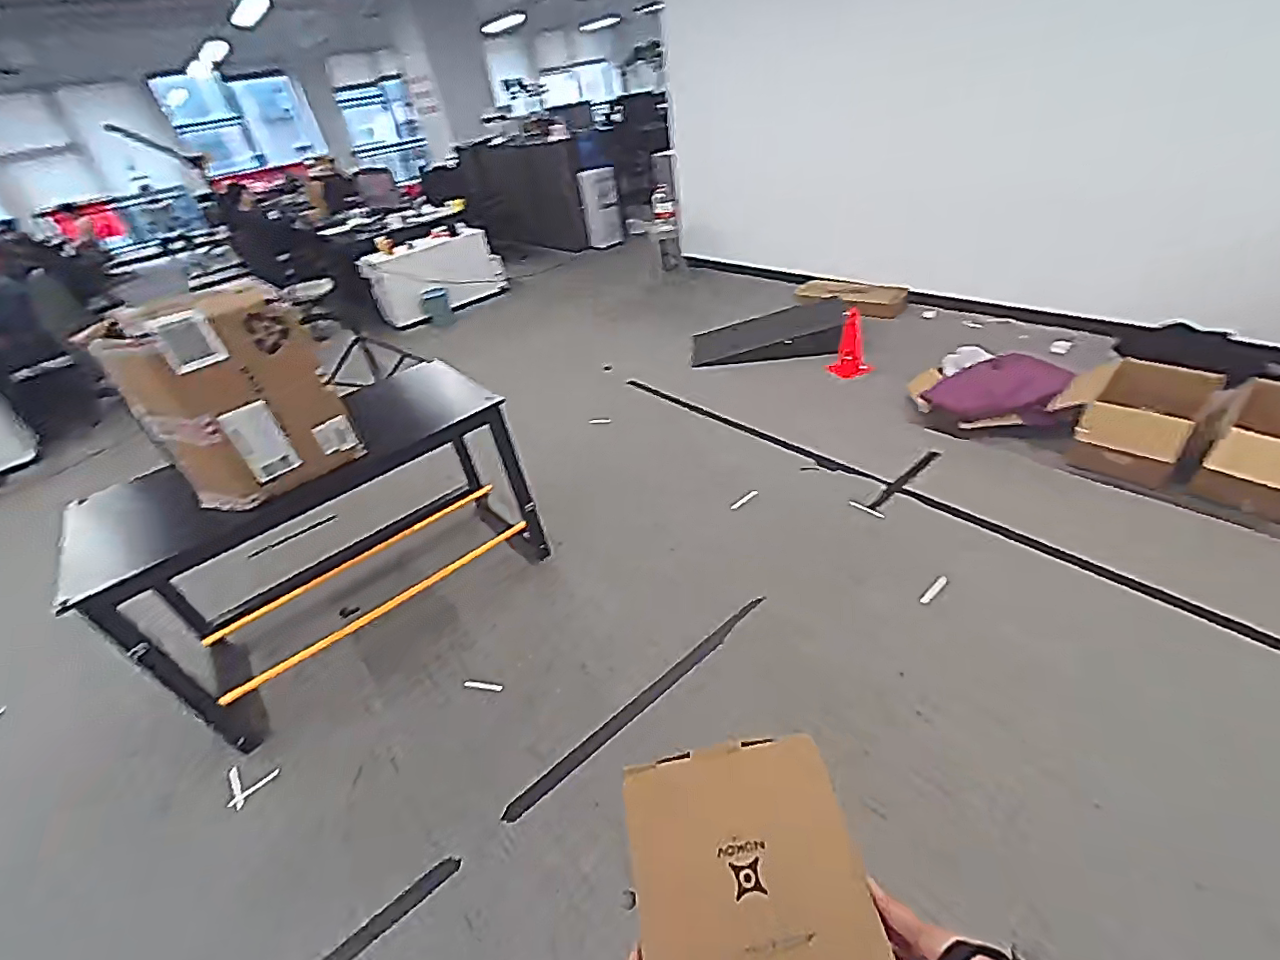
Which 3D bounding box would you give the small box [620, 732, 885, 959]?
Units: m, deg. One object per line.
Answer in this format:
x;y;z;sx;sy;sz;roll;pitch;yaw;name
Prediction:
0.079;0.345;0.454;0.168;0.176;0.179;-10;44;-3;small box
